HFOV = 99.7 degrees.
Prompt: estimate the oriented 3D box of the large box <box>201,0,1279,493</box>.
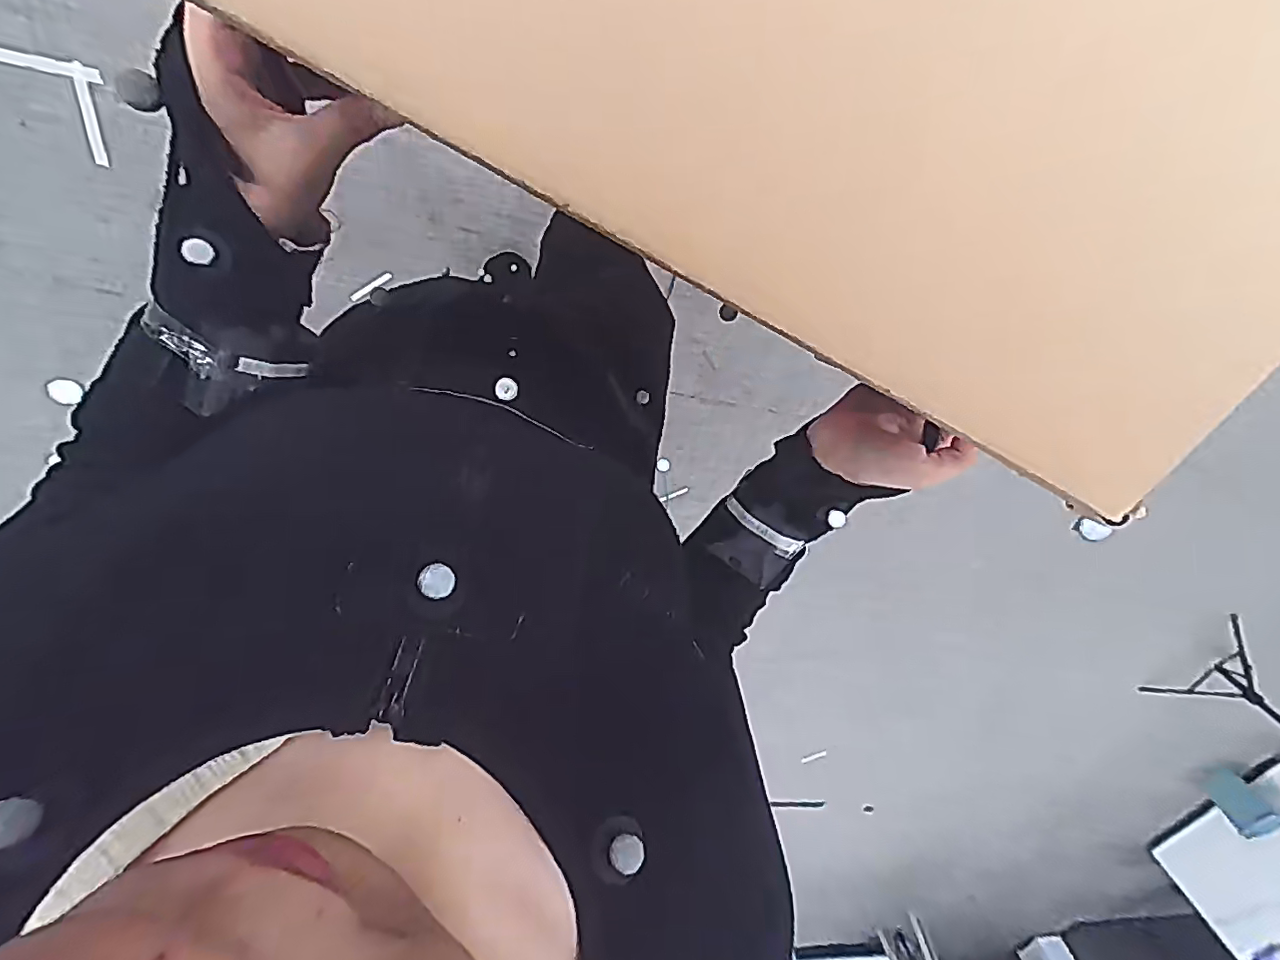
[{"bbox_3d":[0.073,-0.259,0.236,0.408,0.320,0.320,23,115,-14],"label":"large box"}]
